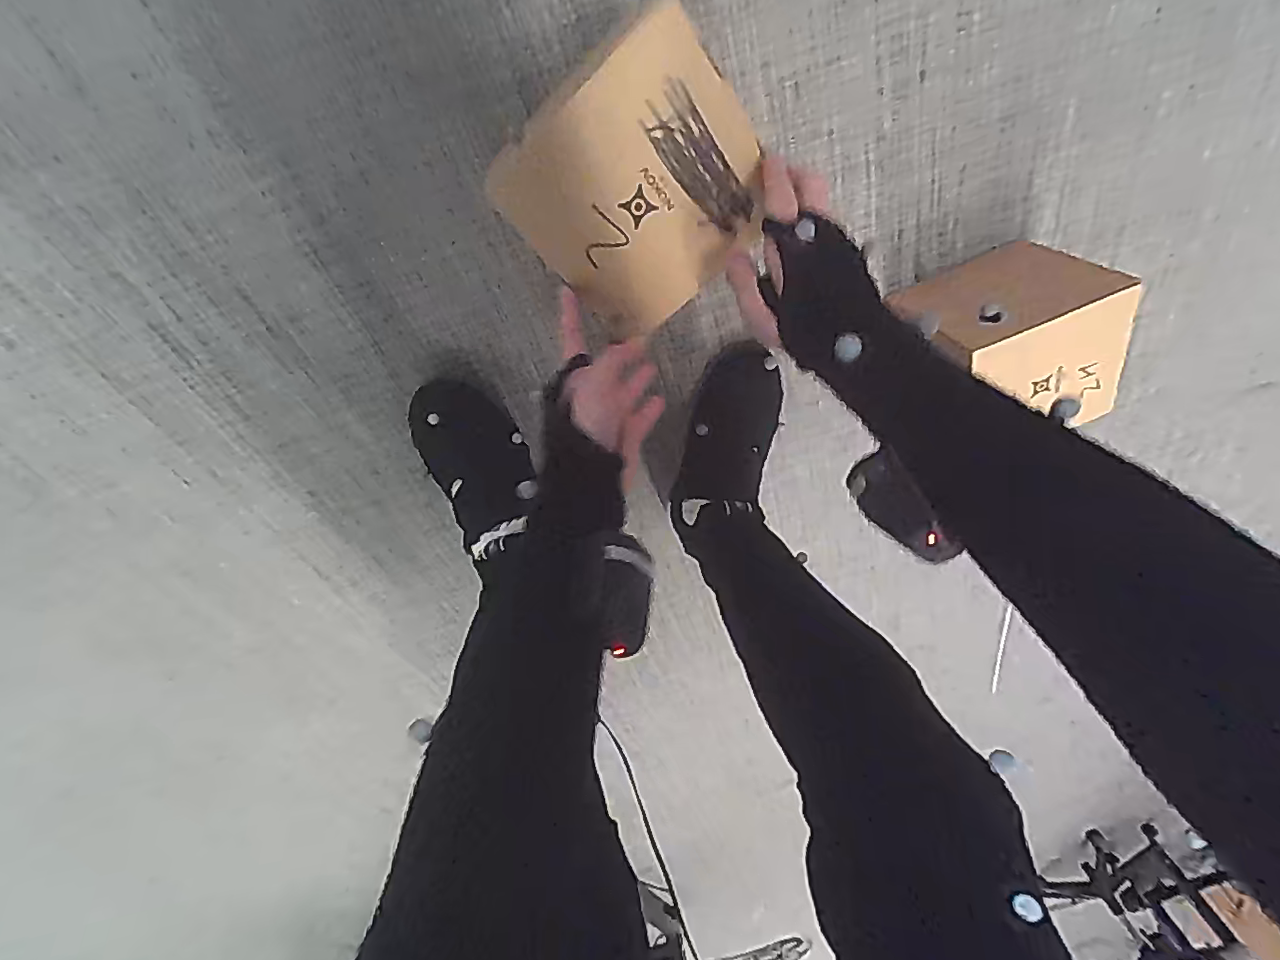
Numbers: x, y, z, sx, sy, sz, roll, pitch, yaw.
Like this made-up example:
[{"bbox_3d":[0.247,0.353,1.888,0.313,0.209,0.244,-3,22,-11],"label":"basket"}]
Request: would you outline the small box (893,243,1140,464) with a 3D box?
[{"bbox_3d":[0.422,-0.154,0.645,0.179,0.176,0.168,-23,129,5],"label":"small box"}]
